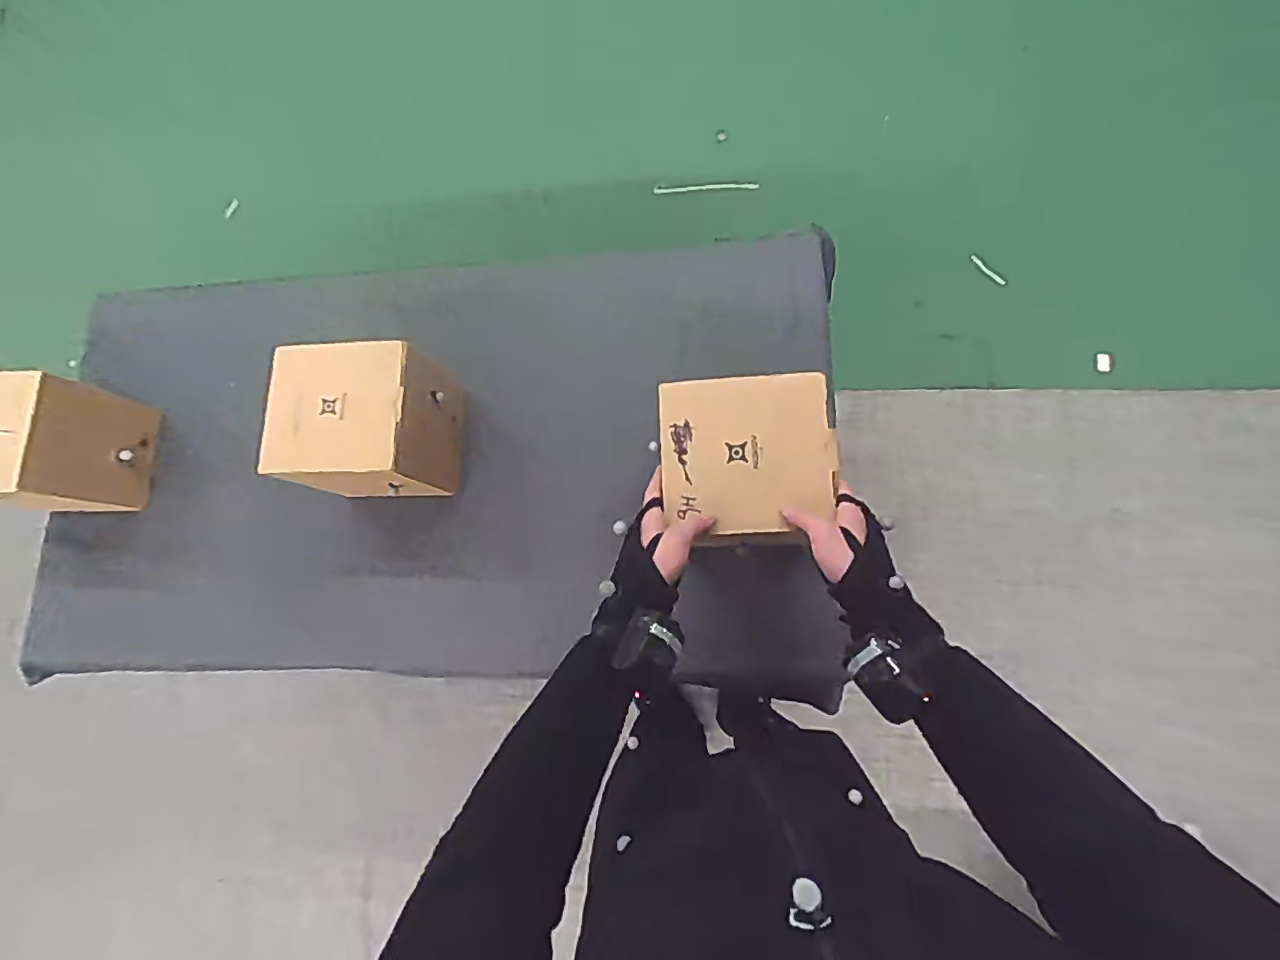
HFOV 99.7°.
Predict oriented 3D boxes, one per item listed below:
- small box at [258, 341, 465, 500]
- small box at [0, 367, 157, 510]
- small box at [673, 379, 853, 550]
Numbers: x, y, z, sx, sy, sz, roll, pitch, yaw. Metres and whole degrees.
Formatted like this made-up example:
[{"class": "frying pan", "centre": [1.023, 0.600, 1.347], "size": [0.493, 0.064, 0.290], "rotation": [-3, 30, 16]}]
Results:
[{"class": "small box", "centre": [-0.348, -0.069, 0.711], "size": [0.179, 0.176, 0.168], "rotation": [-1, 78, 8]}, {"class": "small box", "centre": [-0.850, -0.049, 0.761], "size": [0.179, 0.176, 0.168], "rotation": [0, 79, 5]}, {"class": "small box", "centre": [0.127, -0.008, 0.622], "size": [0.179, 0.176, 0.168], "rotation": [-2, 79, 5]}]
